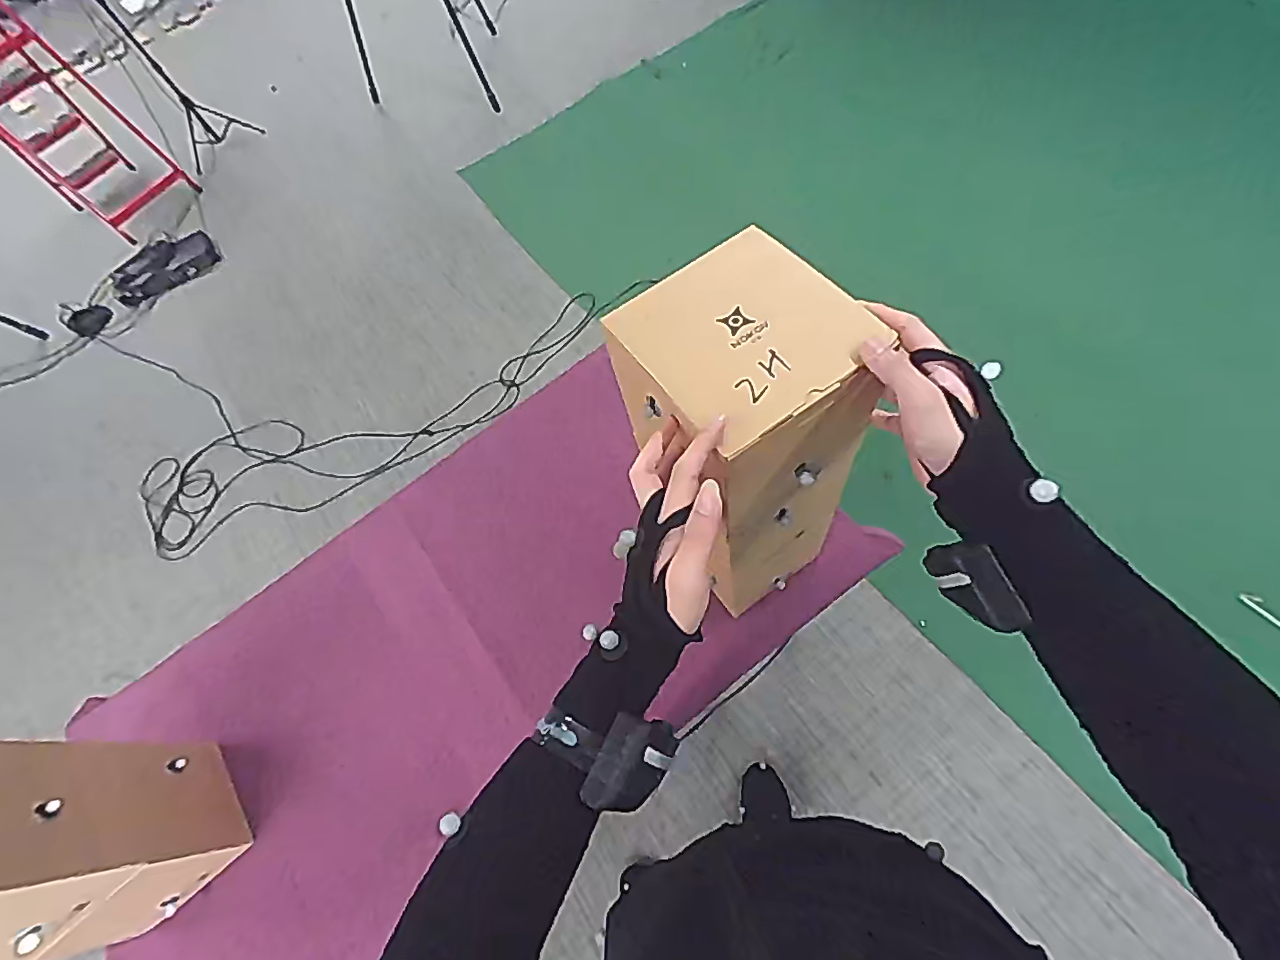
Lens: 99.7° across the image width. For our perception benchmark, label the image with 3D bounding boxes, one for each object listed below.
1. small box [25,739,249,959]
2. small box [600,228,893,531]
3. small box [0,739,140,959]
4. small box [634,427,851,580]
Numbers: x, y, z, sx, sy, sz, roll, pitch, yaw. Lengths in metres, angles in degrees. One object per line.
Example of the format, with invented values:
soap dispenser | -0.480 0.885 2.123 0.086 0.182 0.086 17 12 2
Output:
small box | -0.690 0.485 0.736 0.168 0.176 0.179 -40 65 -10
small box | 0.088 -0.083 0.497 0.168 0.176 0.179 -34 63 -7
small box | -0.715 0.412 0.592 0.168 0.176 0.179 -41 65 -10
small box | 0.117 -0.007 0.647 0.168 0.176 0.179 -35 63 -6
